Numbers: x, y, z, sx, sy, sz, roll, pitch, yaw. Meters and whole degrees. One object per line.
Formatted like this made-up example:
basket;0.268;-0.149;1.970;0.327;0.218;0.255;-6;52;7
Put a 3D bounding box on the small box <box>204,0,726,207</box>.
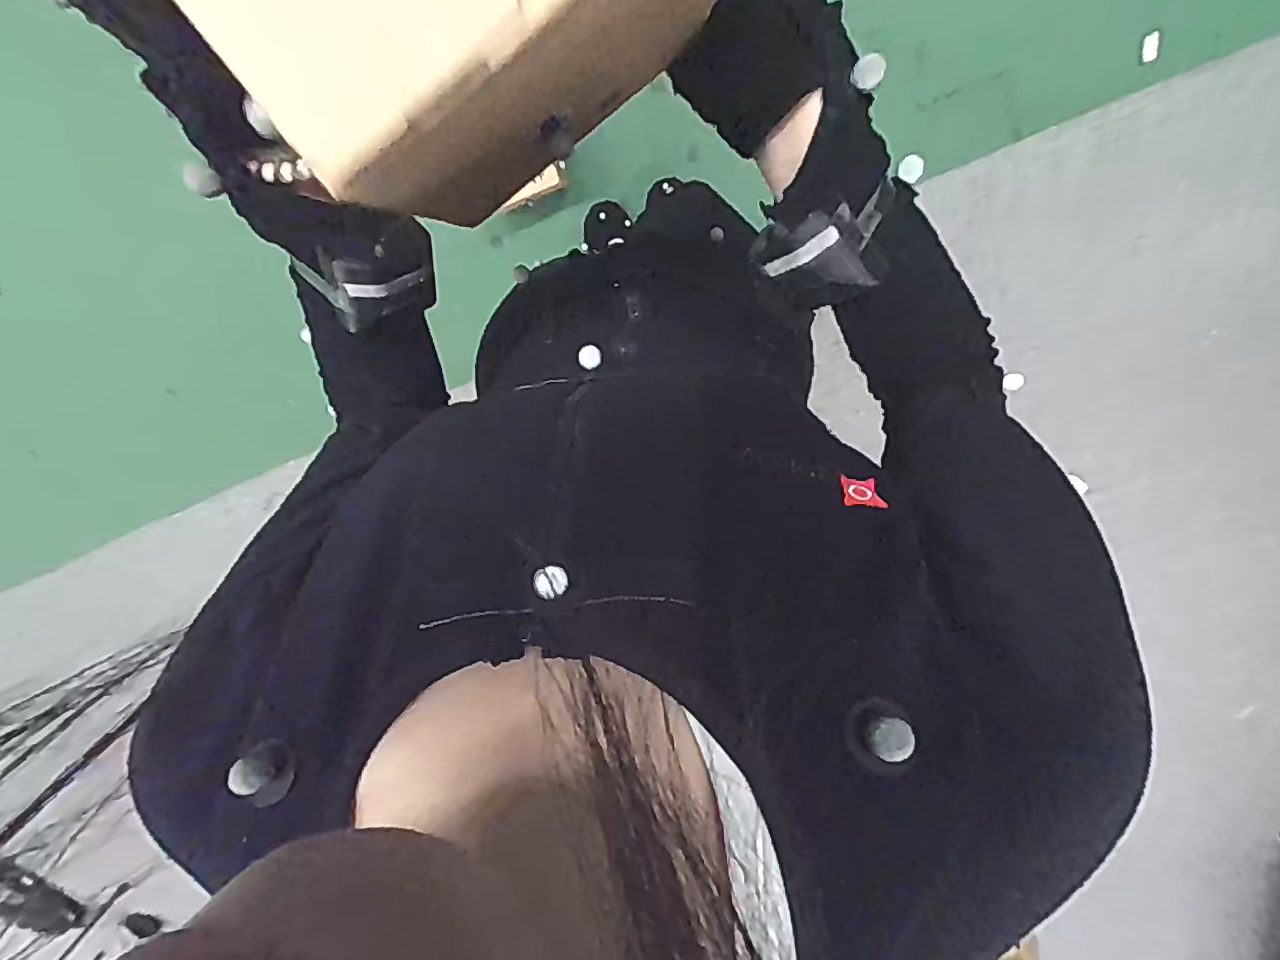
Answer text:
small box;-0.071;-0.225;0.198;0.168;0.176;0.179;-33;114;11
